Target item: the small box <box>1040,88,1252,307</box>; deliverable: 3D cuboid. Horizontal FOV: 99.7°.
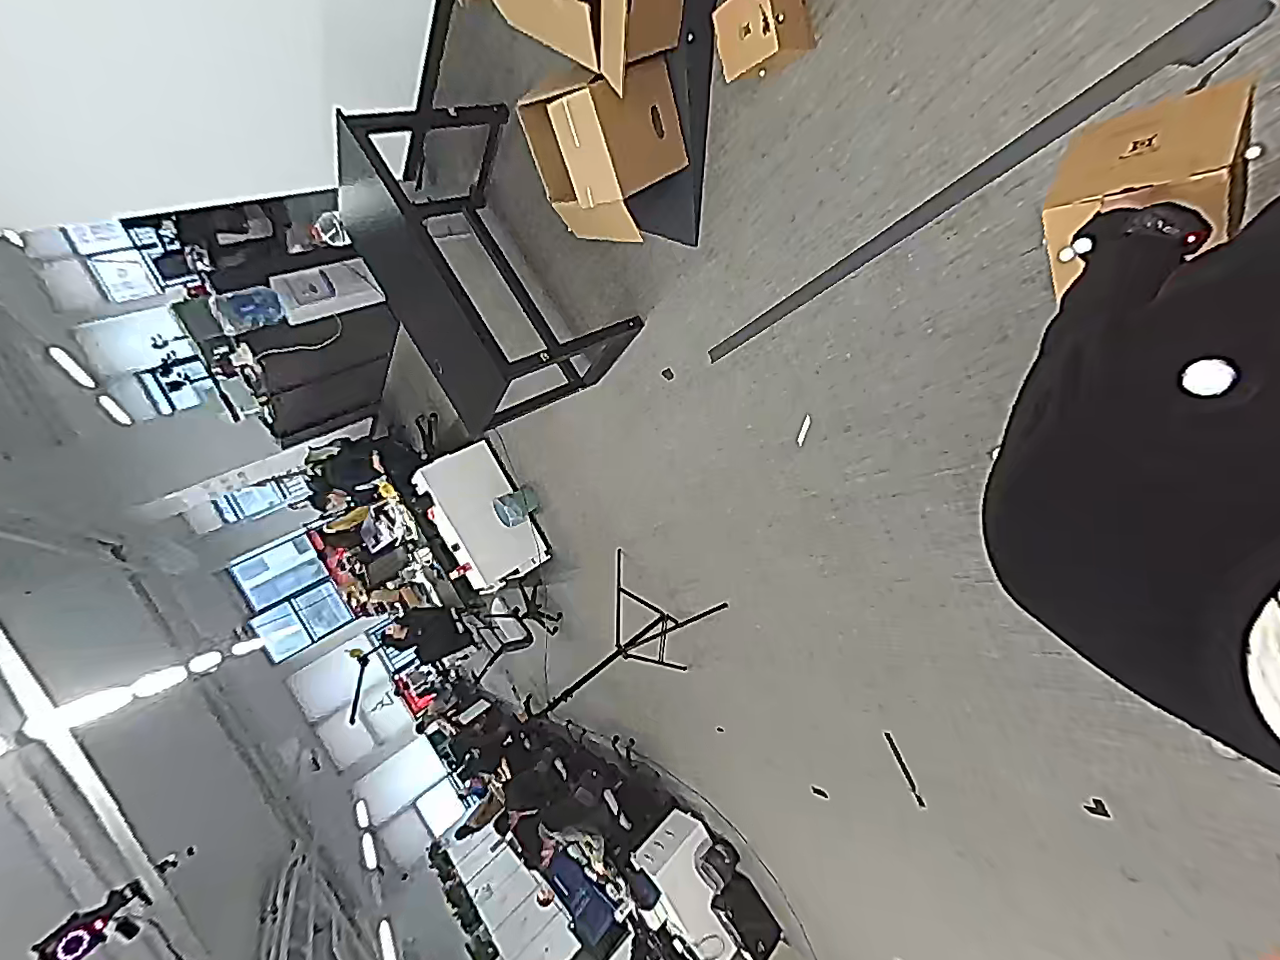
[{"bbox_3d":[0.649,-0.342,0.696,0.168,0.179,0.176,11,150,49],"label":"small box"}]
